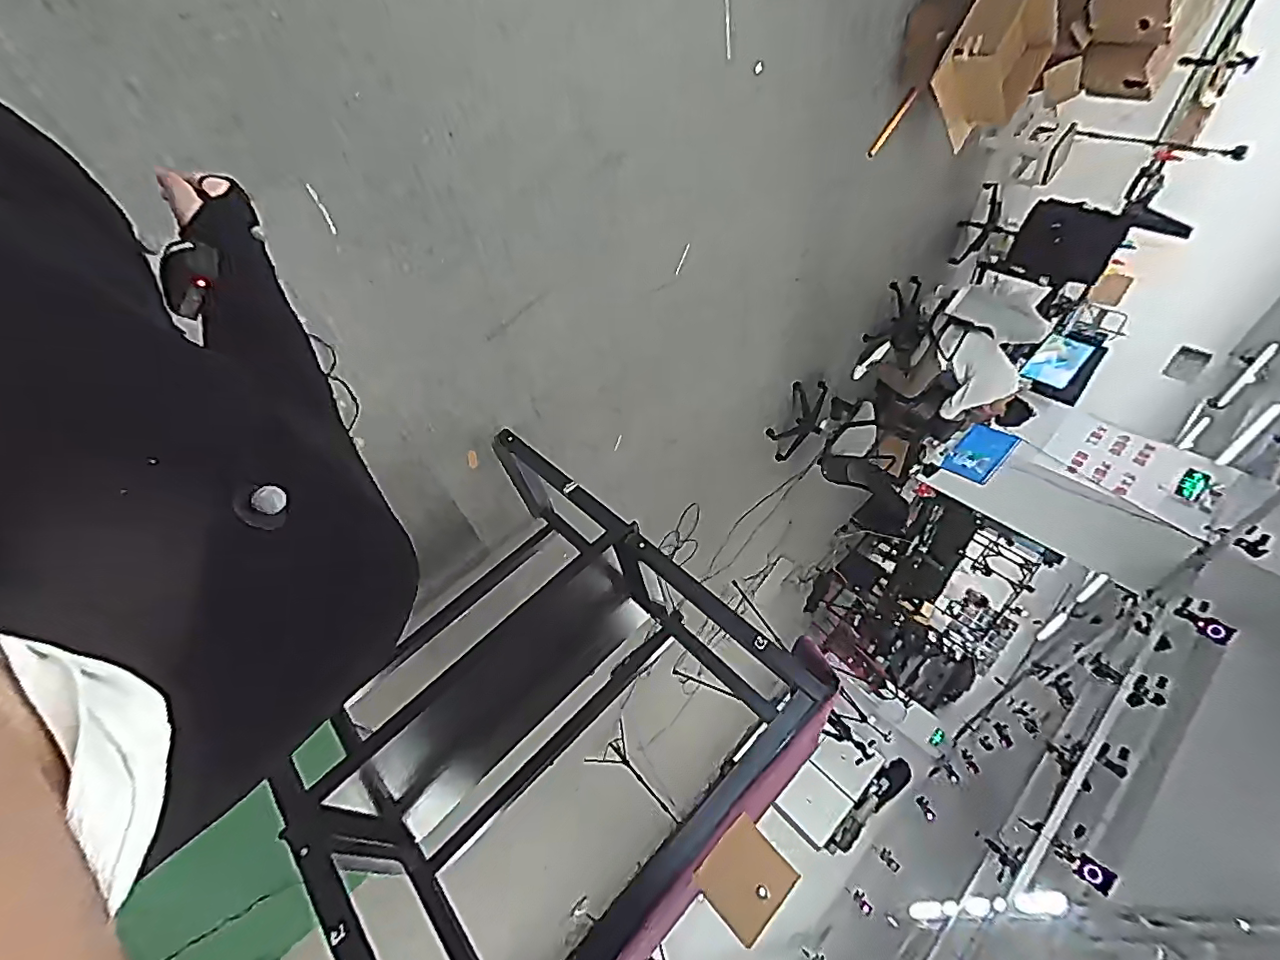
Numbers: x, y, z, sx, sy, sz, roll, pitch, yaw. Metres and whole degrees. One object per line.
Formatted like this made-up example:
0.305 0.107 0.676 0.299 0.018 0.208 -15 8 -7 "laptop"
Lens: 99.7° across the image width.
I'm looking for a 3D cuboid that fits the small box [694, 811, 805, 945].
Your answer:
0.239 0.887 1.213 0.179 0.176 0.168 -38 145 -23 "small box"
